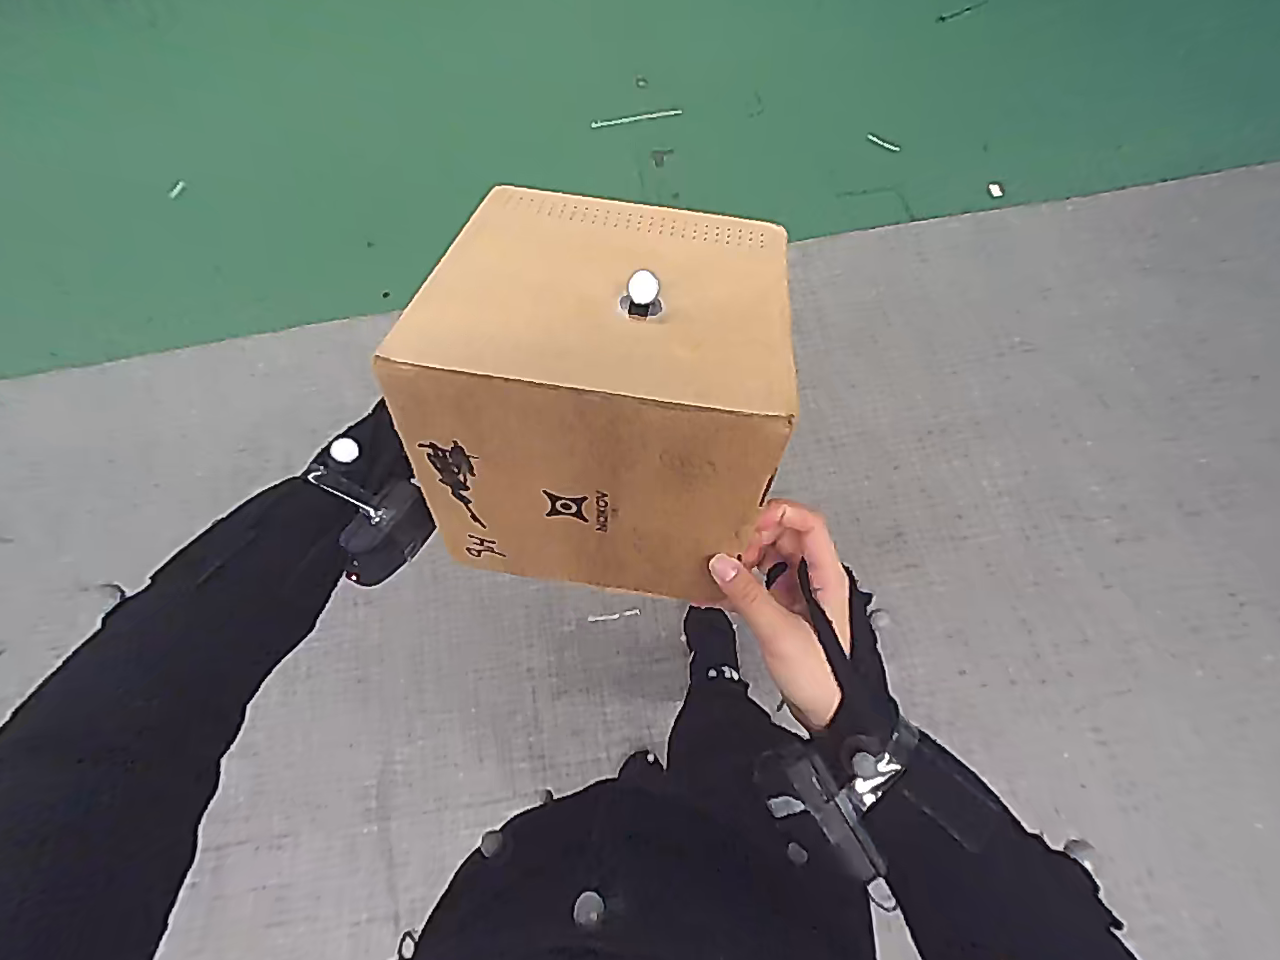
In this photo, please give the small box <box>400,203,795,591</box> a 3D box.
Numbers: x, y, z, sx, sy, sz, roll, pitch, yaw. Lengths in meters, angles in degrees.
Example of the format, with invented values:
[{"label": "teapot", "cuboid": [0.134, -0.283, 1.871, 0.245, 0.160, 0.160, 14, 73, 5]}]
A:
[{"label": "small box", "cuboid": [-0.016, -0.051, 0.342, 0.179, 0.168, 0.176, 8, 50, 1]}]
